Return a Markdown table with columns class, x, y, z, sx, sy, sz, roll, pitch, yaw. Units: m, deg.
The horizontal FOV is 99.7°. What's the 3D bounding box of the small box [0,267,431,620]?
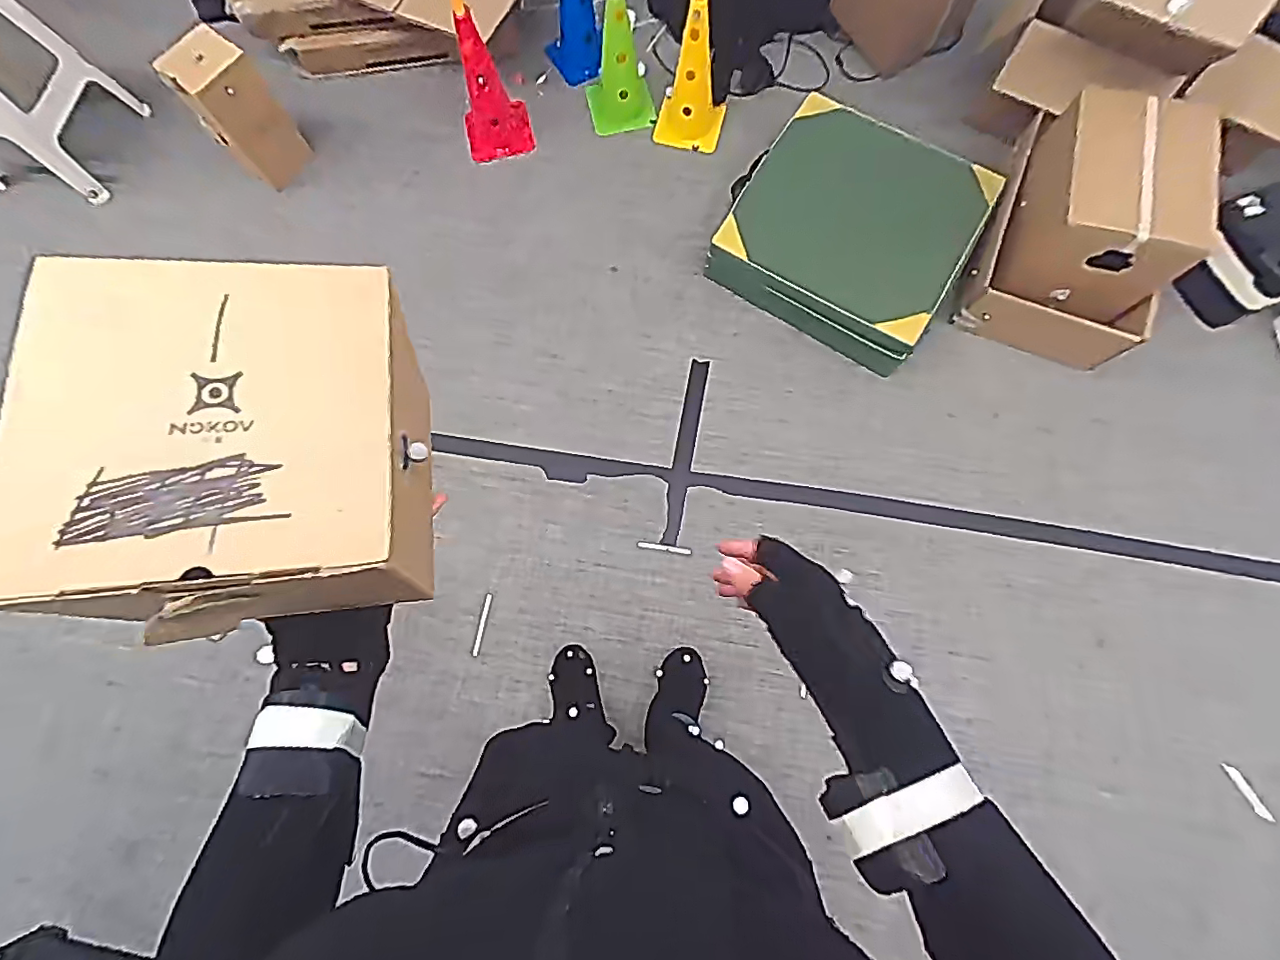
| class | x | y | z | sx | sy | sz | roll | pitch | yaw |
| --- | --- | --- | --- | --- | --- | --- | --- | --- | --- |
| small box | -0.233 | -0.008 | 0.347 | 0.168 | 0.176 | 0.179 | -4 | 73 | -14 |
